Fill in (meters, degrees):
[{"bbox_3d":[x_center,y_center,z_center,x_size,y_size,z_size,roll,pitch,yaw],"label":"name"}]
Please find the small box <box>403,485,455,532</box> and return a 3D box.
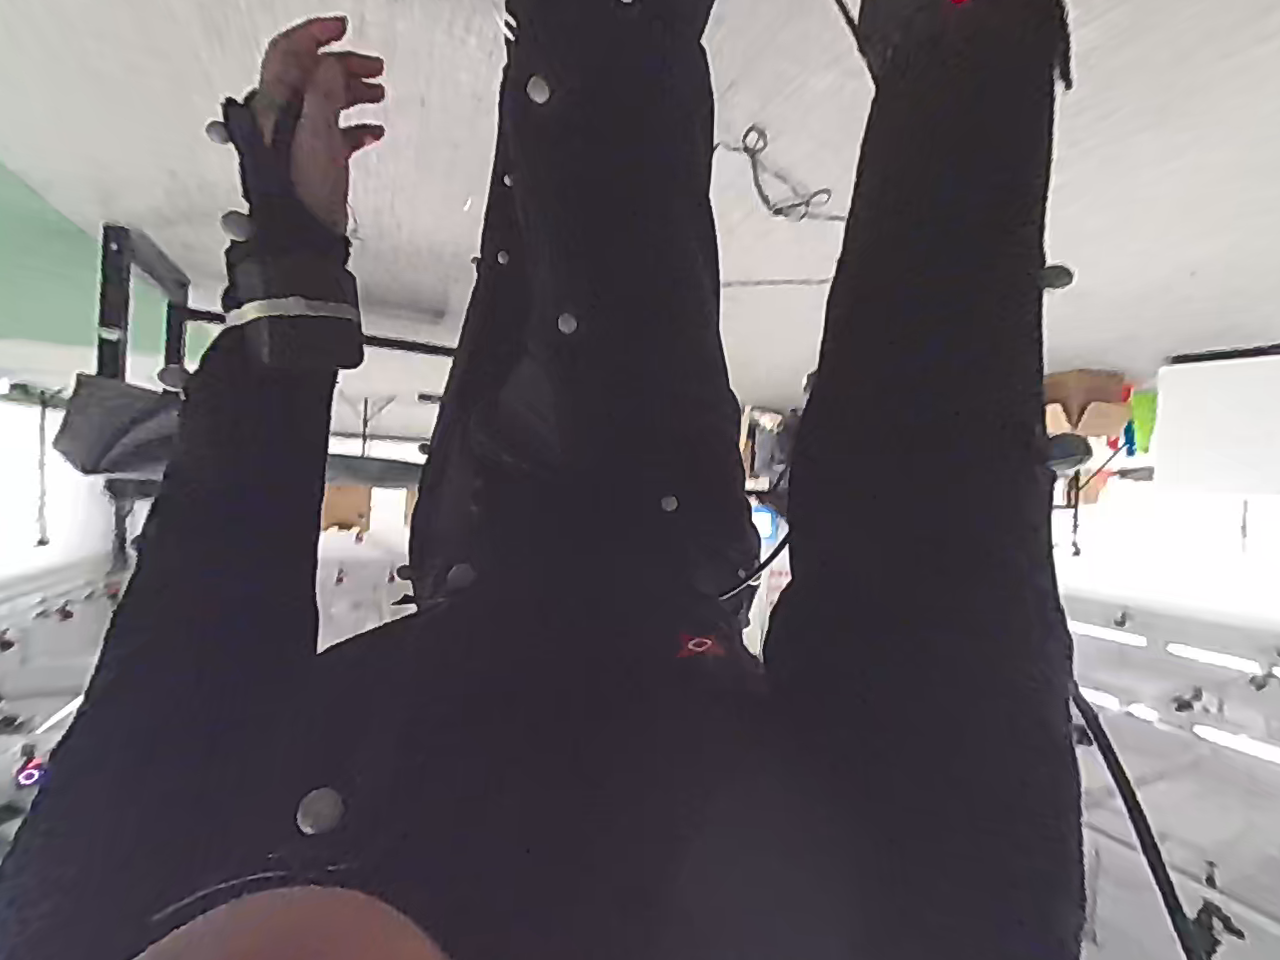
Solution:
[{"bbox_3d":[-0.820,0.108,2.096,0.168,0.176,0.179,4,180,-29],"label":"small box"}]
